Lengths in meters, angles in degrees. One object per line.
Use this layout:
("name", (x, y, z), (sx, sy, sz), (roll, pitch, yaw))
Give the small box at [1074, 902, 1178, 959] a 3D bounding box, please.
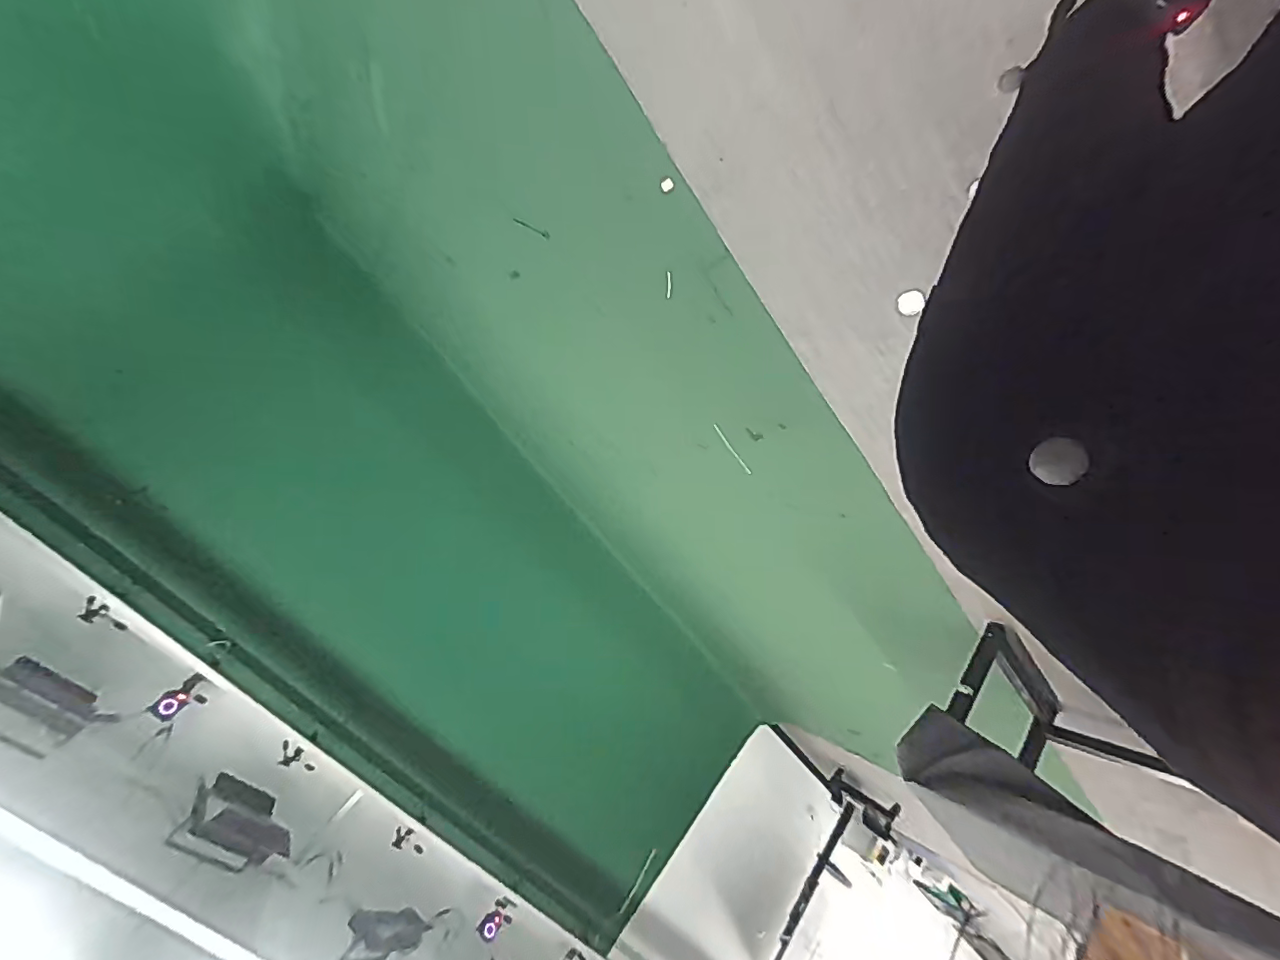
("small box", (1.294, 1.282, 1.429), (0.179, 0.176, 0.168), (53, 156, -23))
